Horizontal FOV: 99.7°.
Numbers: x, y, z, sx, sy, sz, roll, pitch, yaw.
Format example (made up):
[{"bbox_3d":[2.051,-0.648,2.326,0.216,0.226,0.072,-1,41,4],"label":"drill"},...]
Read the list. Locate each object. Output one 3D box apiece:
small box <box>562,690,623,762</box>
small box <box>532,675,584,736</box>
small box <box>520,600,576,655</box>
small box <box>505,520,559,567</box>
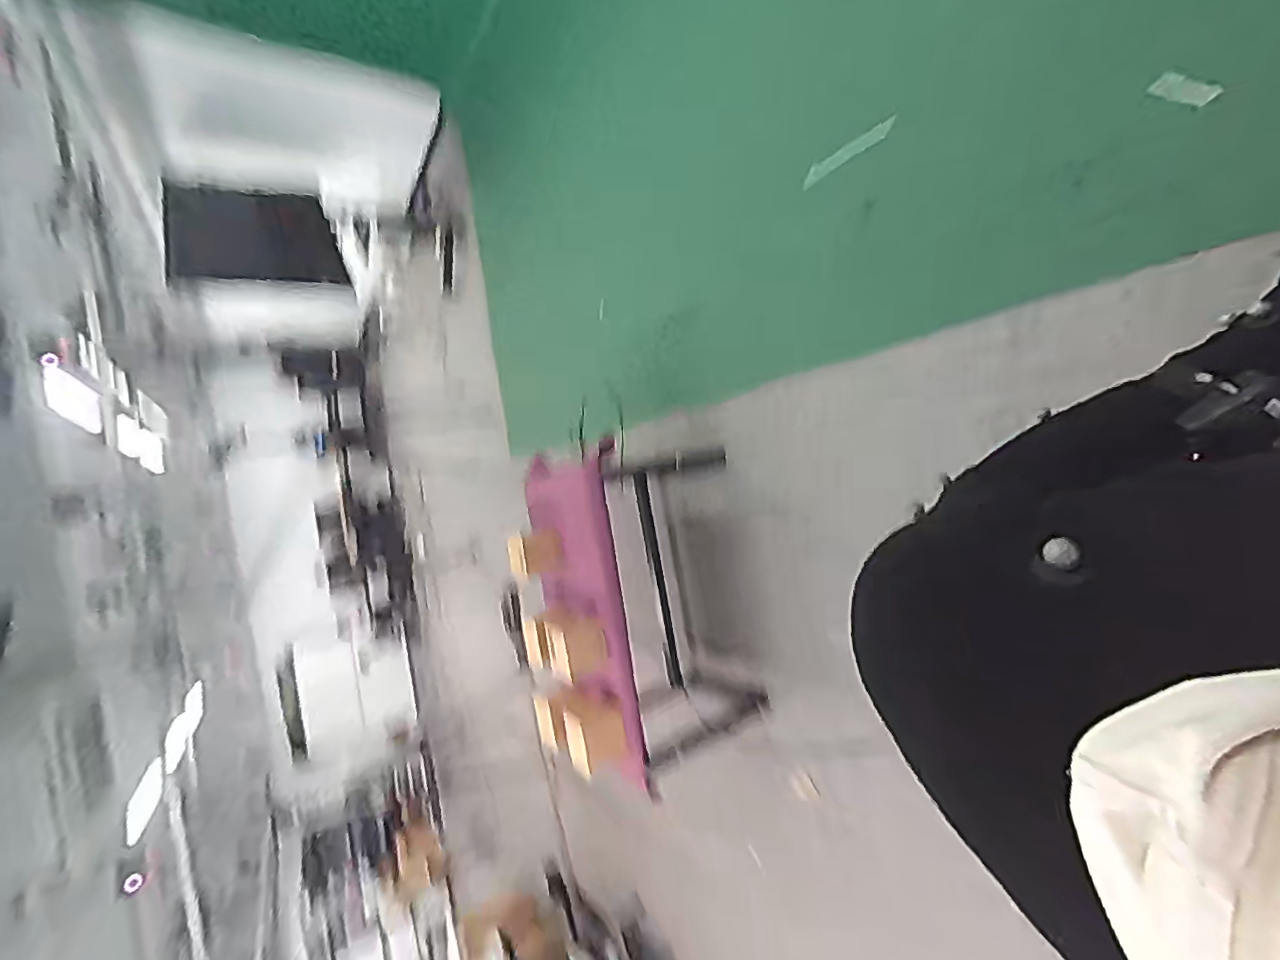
[{"bbox_3d":[-0.180,0.931,2.059,0.168,0.176,0.179,-7,91,58],"label":"small box"},{"bbox_3d":[-0.339,0.954,2.301,0.168,0.176,0.179,-14,86,56],"label":"small box"},{"bbox_3d":[-0.392,0.620,2.300,0.168,0.176,0.179,-11,90,57],"label":"small box"},{"bbox_3d":[-0.451,0.266,2.294,0.179,0.176,0.168,-7,92,57],"label":"small box"}]
